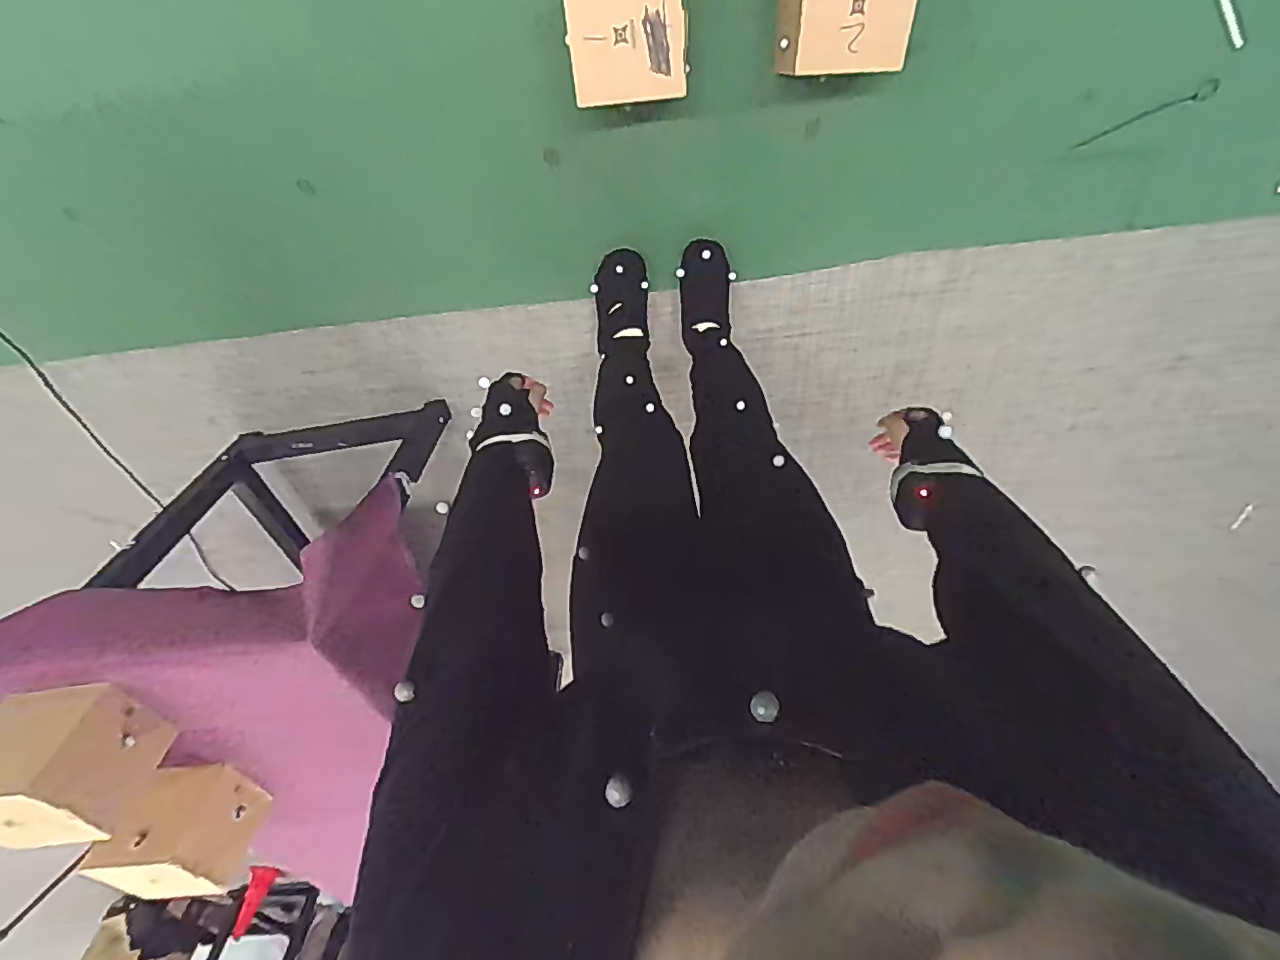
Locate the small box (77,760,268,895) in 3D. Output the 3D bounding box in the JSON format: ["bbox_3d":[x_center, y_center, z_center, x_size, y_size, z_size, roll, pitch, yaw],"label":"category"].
[{"bbox_3d":[-0.865,0.655,1.024,0.179,0.176,0.168,-8,128,5],"label":"small box"}]

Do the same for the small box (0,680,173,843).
[{"bbox_3d":[-0.903,0.434,0.841,0.179,0.176,0.168,-8,129,2],"label":"small box"}]

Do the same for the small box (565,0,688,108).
[{"bbox_3d":[-0.018,-0.710,0.867,0.179,0.176,0.168,-3,128,4],"label":"small box"}]
